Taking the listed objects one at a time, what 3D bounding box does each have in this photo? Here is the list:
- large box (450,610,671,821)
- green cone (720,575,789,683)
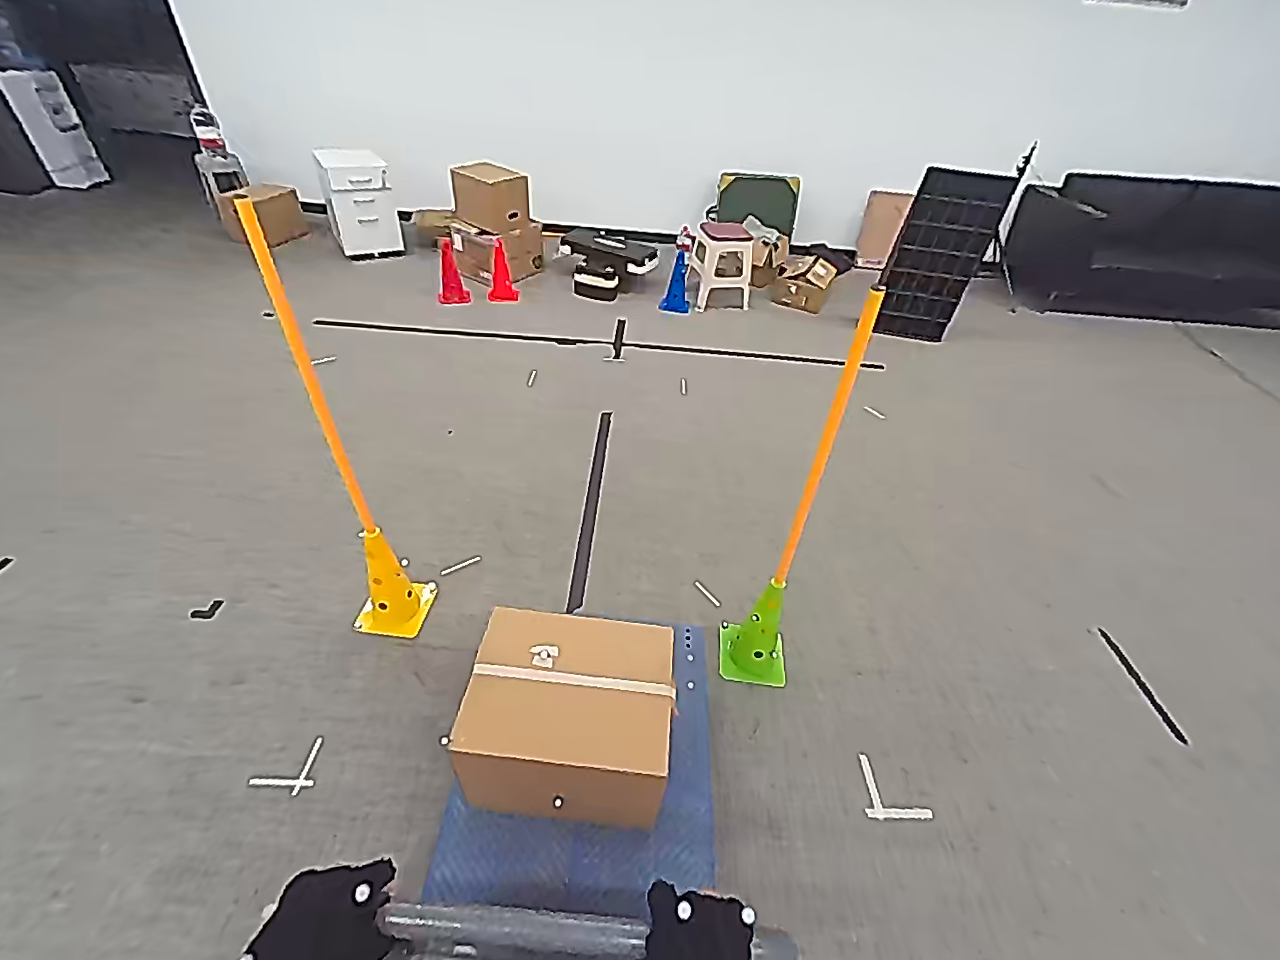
[{"bbox_3d":[-0.146,0.520,1.196,0.408,0.320,0.320,6,41,2],"label":"large box"},{"bbox_3d":[0.368,0.412,1.599,0.202,0.368,0.200,8,41,1],"label":"green cone"}]
